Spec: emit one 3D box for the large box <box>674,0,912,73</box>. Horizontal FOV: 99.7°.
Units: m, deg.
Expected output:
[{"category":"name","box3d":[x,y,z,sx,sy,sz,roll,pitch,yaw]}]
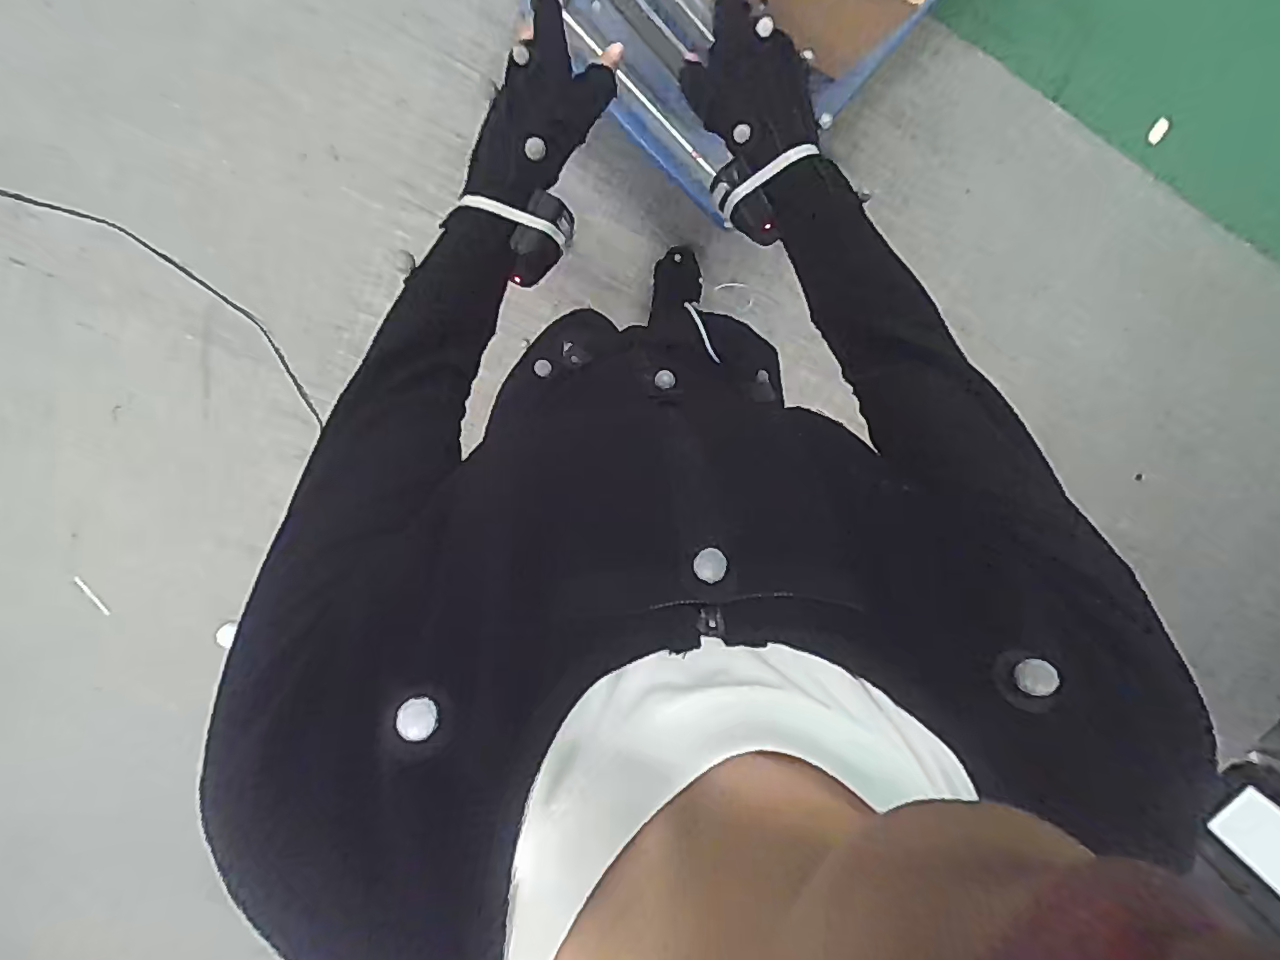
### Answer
[{"category":"large box","box3d":[0.249,-0.924,0.836,0.408,0.320,0.320,19,109,-9]}]
